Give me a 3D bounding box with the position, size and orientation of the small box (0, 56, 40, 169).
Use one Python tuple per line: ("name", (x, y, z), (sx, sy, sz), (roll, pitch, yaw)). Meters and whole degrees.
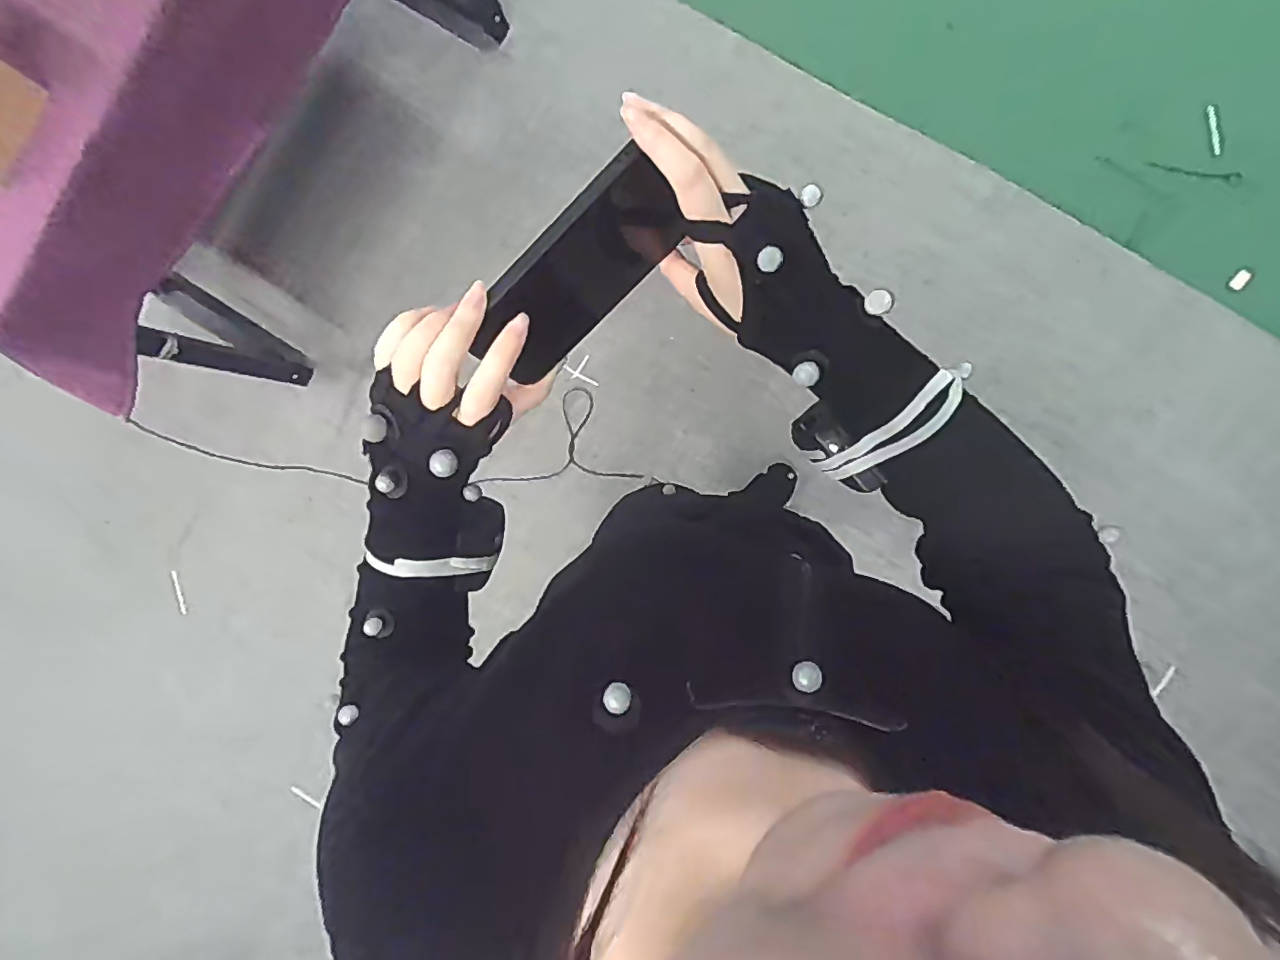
("small box", (-1.046, -0.581, 0.777), (0.168, 0.176, 0.179), (34, 94, 4))
